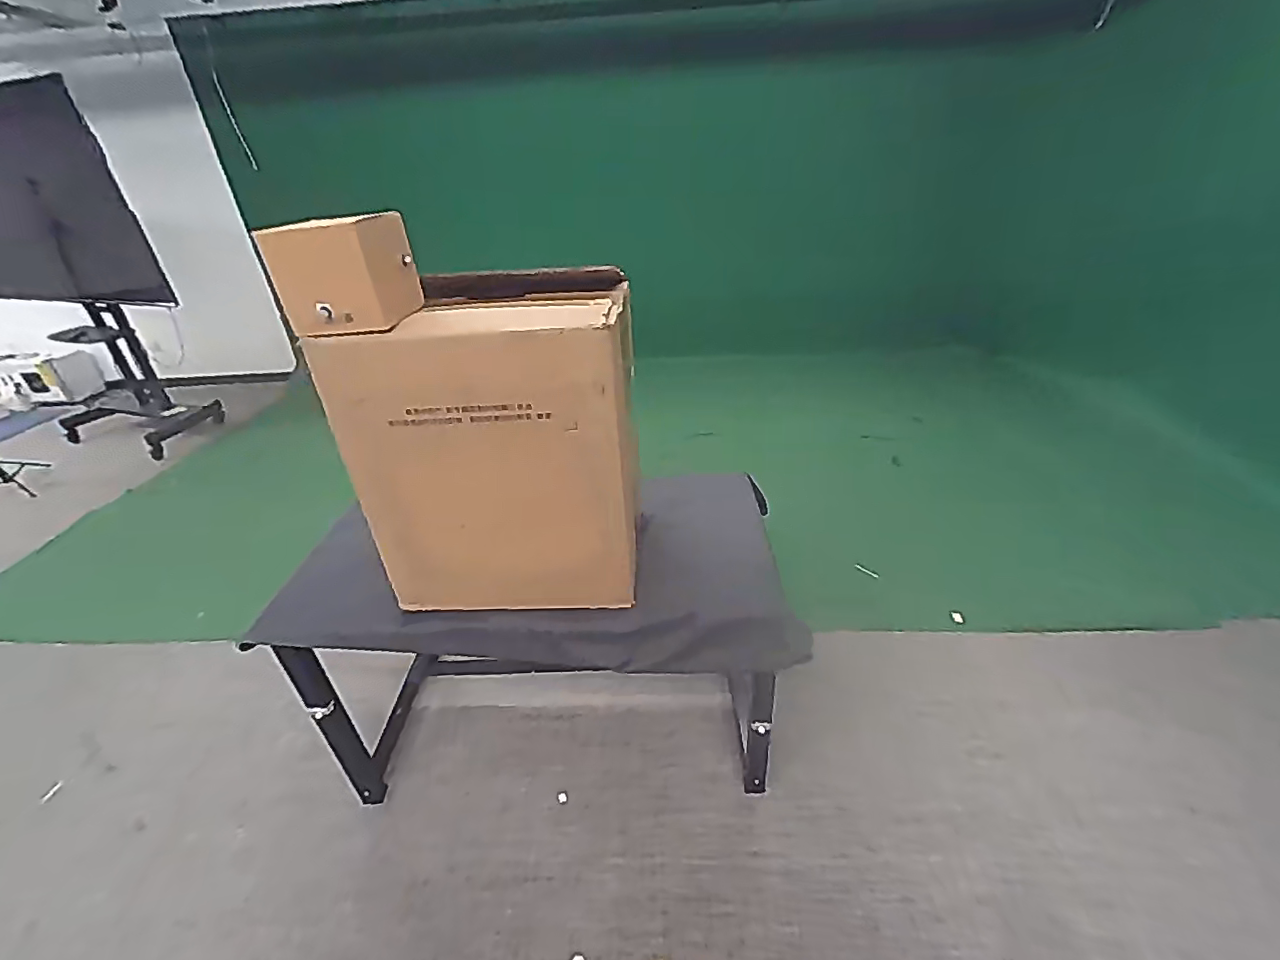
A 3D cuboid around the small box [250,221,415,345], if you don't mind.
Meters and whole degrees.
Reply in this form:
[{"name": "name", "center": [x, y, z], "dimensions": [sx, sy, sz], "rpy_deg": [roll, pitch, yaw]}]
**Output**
[{"name": "small box", "center": [-0.515, -0.344, 0.941], "dimensions": [0.168, 0.176, 0.179], "rpy_deg": [-5, 31, 3]}]
